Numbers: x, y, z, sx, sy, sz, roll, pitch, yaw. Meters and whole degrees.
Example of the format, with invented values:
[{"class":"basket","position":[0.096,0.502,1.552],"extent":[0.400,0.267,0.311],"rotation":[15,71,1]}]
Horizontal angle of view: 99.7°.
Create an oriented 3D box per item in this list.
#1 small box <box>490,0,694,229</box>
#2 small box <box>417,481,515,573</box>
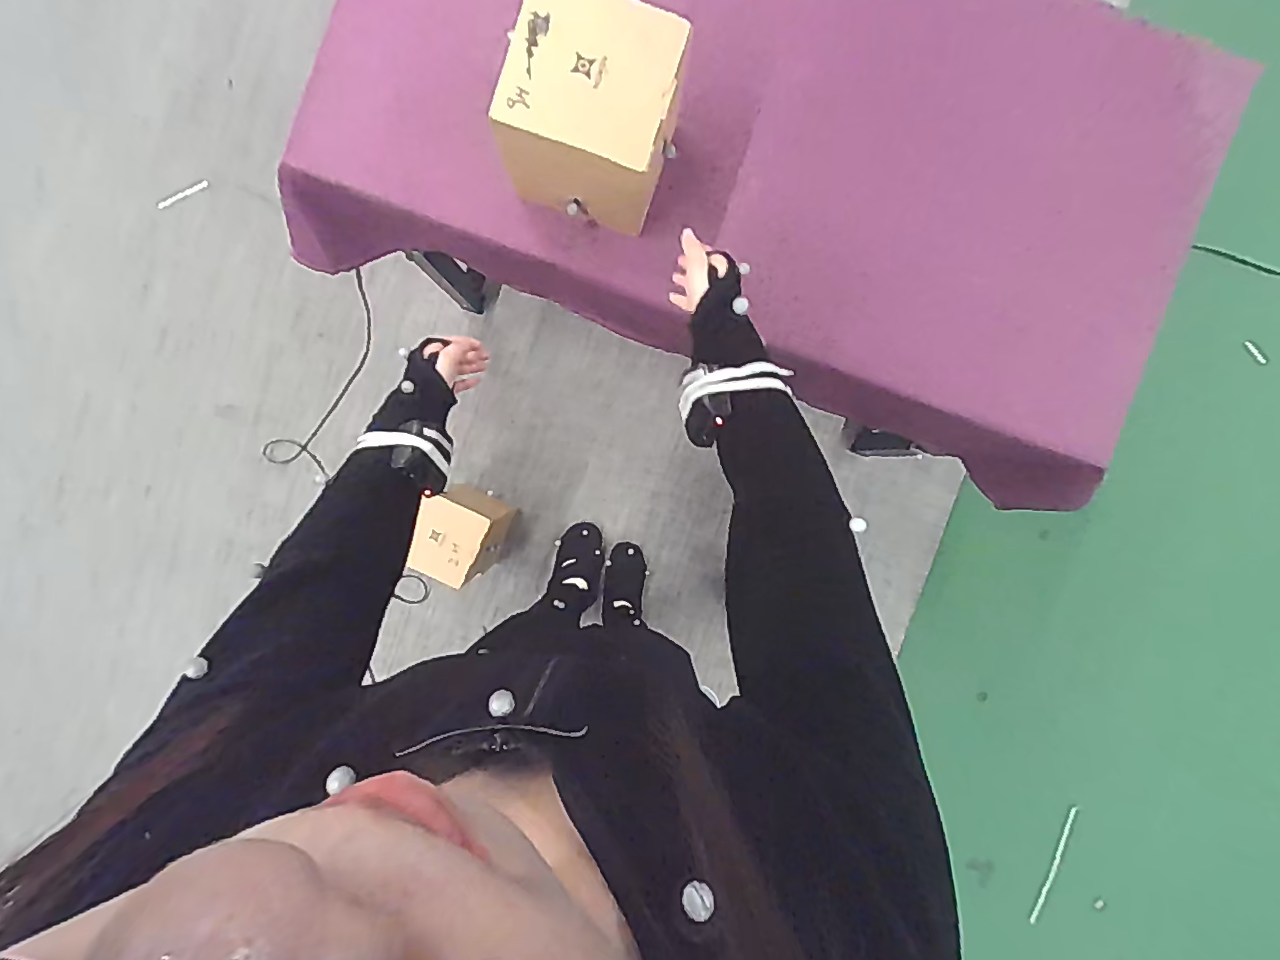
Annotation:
[{"class":"small box","position":[-0.055,-0.429,0.645],"extent":[0.179,0.176,0.168],"rotation":[18,91,-4]},{"class":"small box","position":[-0.434,0.114,1.383],"extent":[0.168,0.176,0.179],"rotation":[23,91,-4]}]
